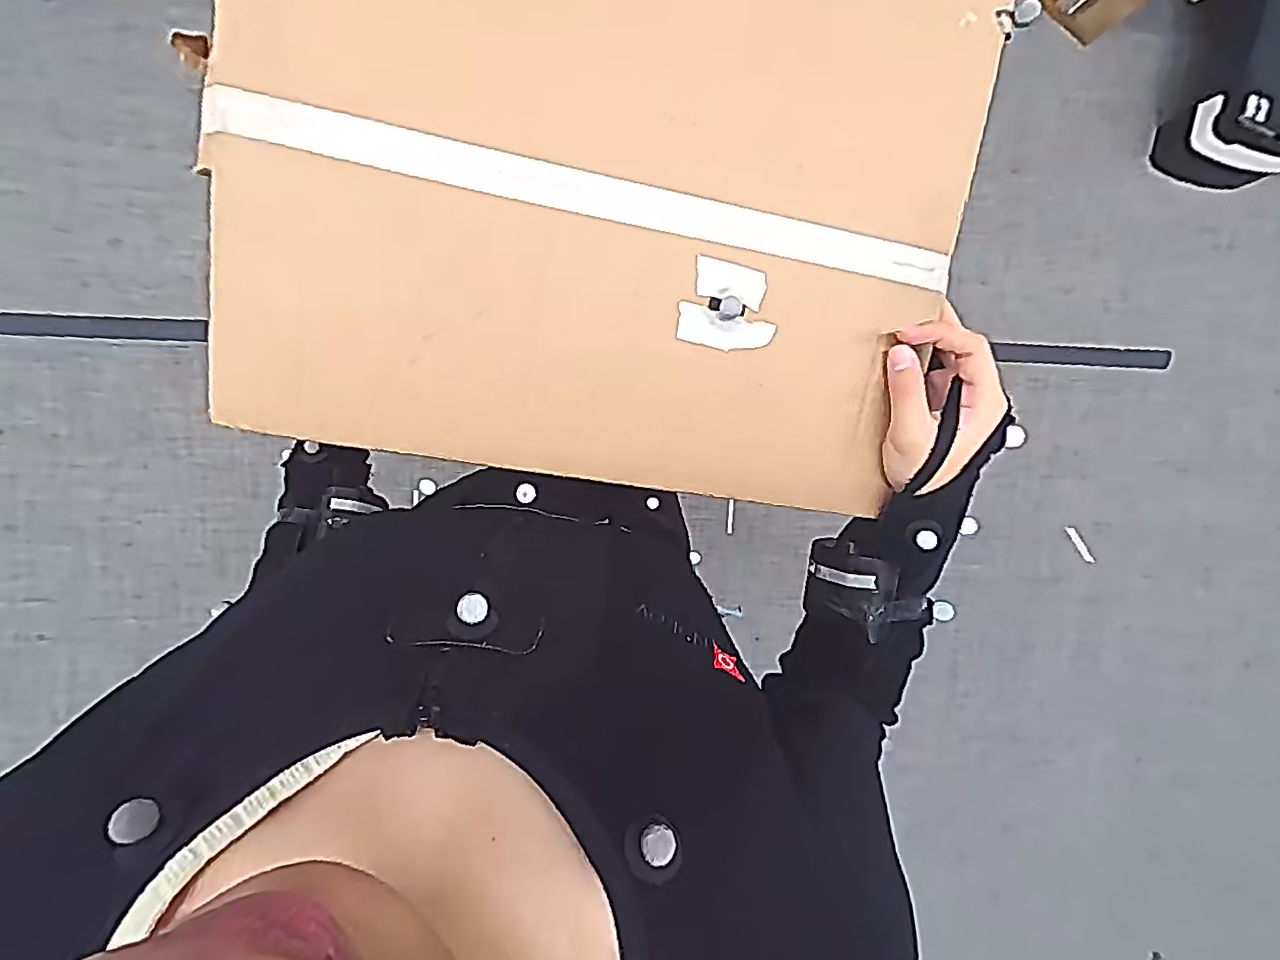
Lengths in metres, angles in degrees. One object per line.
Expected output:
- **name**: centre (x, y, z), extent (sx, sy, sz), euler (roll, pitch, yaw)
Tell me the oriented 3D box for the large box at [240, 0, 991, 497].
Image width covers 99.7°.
- **large box**: centre (-0.030, -0.186, 0.452), extent (0.408, 0.320, 0.320), euler (8, 100, -12)
